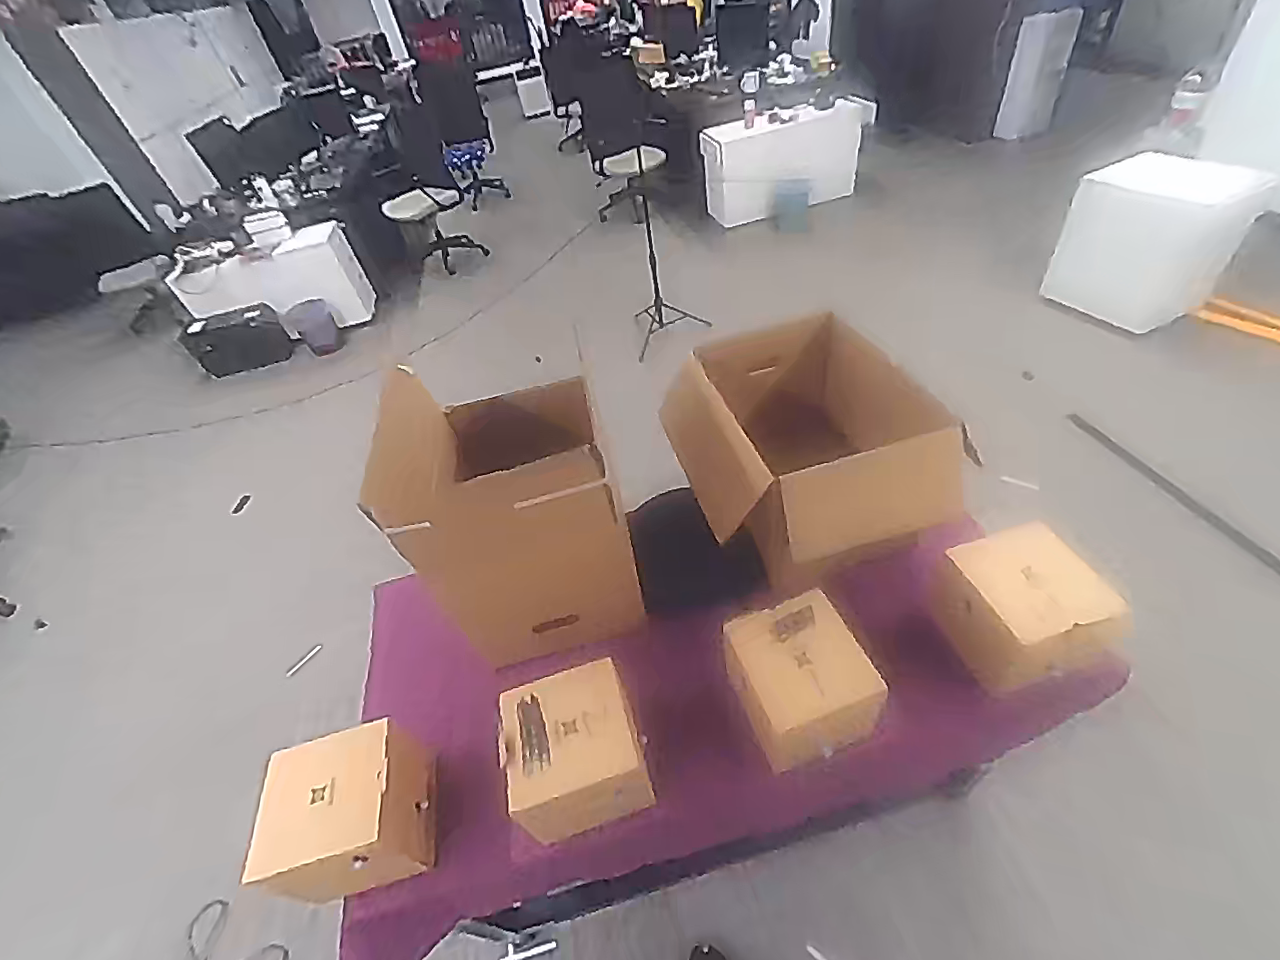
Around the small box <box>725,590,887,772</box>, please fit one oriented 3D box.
[{"bbox_3d":[0.240,0.306,0.822,0.168,0.176,0.179,-20,45,-6],"label":"small box"}]

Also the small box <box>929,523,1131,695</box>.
[{"bbox_3d":[0.584,0.201,0.843,0.168,0.176,0.179,-17,44,-2],"label":"small box"}]

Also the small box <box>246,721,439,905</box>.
[{"bbox_3d":[-0.418,0.490,0.794,0.179,0.176,0.168,-16,44,-5],"label":"small box"}]
